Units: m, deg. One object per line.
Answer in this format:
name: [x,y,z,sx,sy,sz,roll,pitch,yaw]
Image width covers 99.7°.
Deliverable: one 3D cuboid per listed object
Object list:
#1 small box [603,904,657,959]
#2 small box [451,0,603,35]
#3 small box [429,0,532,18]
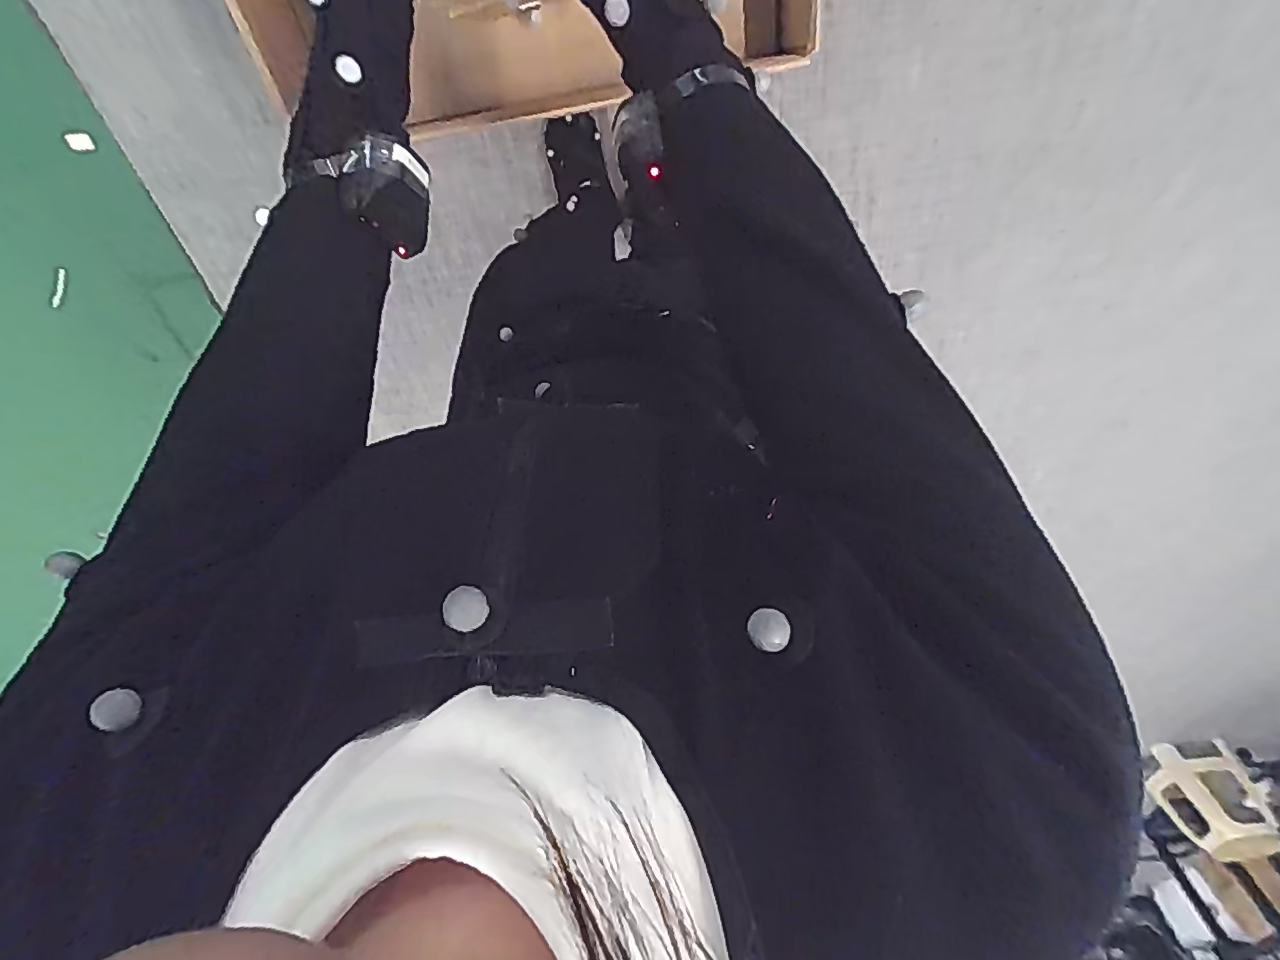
small box: [-0.031,1.630,1.919,0.168,0.176,0.179,-10,129,6]
small box: [-0.132,-0.600,0.564,0.168,0.176,0.179,-11,127,8]
small box: [-0.130,-0.504,0.430,0.168,0.176,0.179,-9,127,7]
